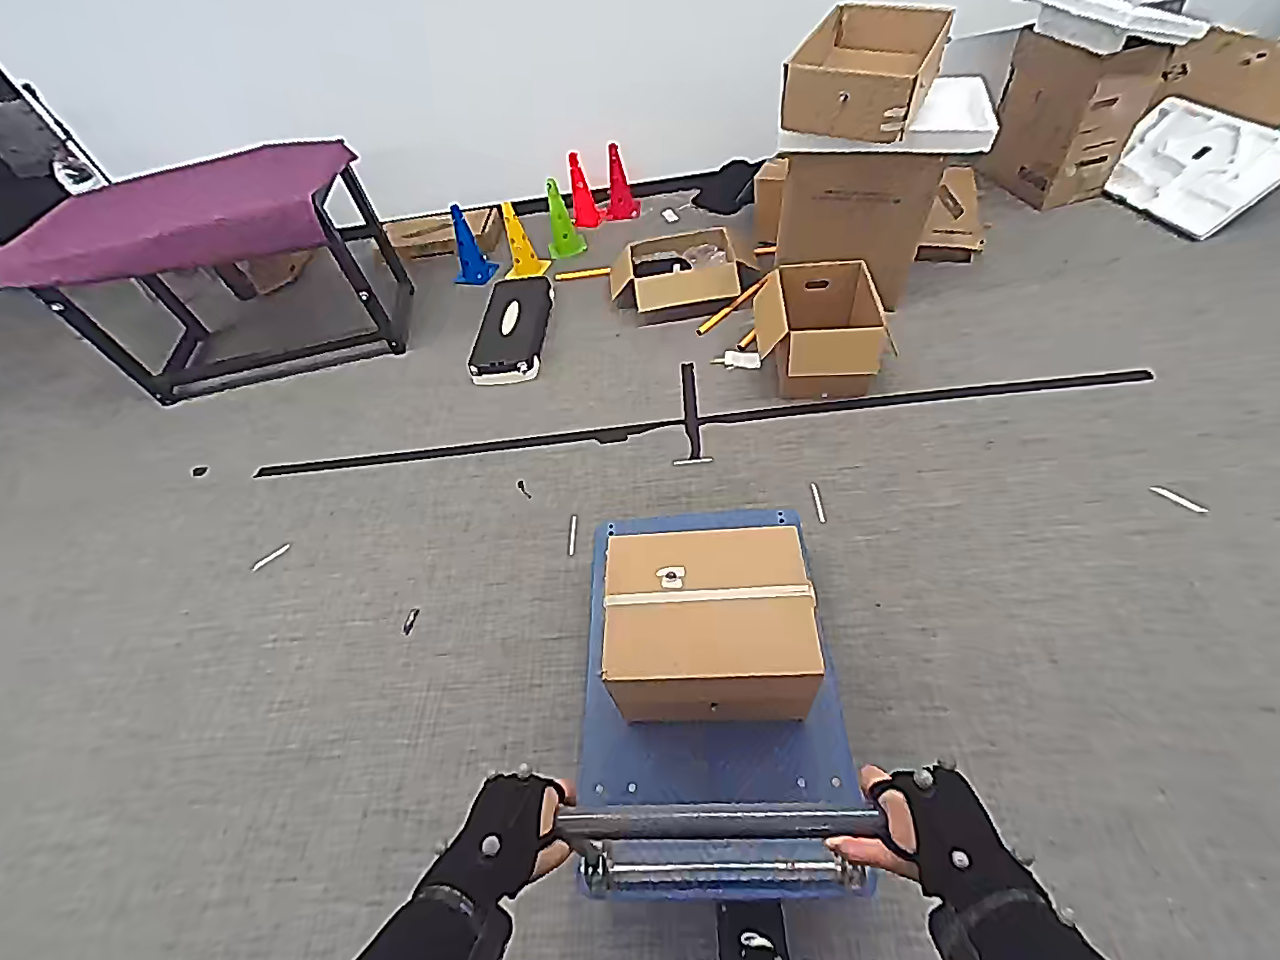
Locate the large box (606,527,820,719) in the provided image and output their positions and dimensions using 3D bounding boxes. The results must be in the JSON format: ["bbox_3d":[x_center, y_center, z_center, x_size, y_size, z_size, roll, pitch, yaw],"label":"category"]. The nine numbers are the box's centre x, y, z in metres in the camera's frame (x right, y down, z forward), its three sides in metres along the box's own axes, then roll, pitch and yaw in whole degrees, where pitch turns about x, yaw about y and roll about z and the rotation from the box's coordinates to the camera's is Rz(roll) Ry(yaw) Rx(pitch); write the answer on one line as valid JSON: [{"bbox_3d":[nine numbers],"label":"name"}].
[{"bbox_3d":[0.153,0.331,1.208,0.408,0.320,0.320,-5,51,7],"label":"large box"}]
